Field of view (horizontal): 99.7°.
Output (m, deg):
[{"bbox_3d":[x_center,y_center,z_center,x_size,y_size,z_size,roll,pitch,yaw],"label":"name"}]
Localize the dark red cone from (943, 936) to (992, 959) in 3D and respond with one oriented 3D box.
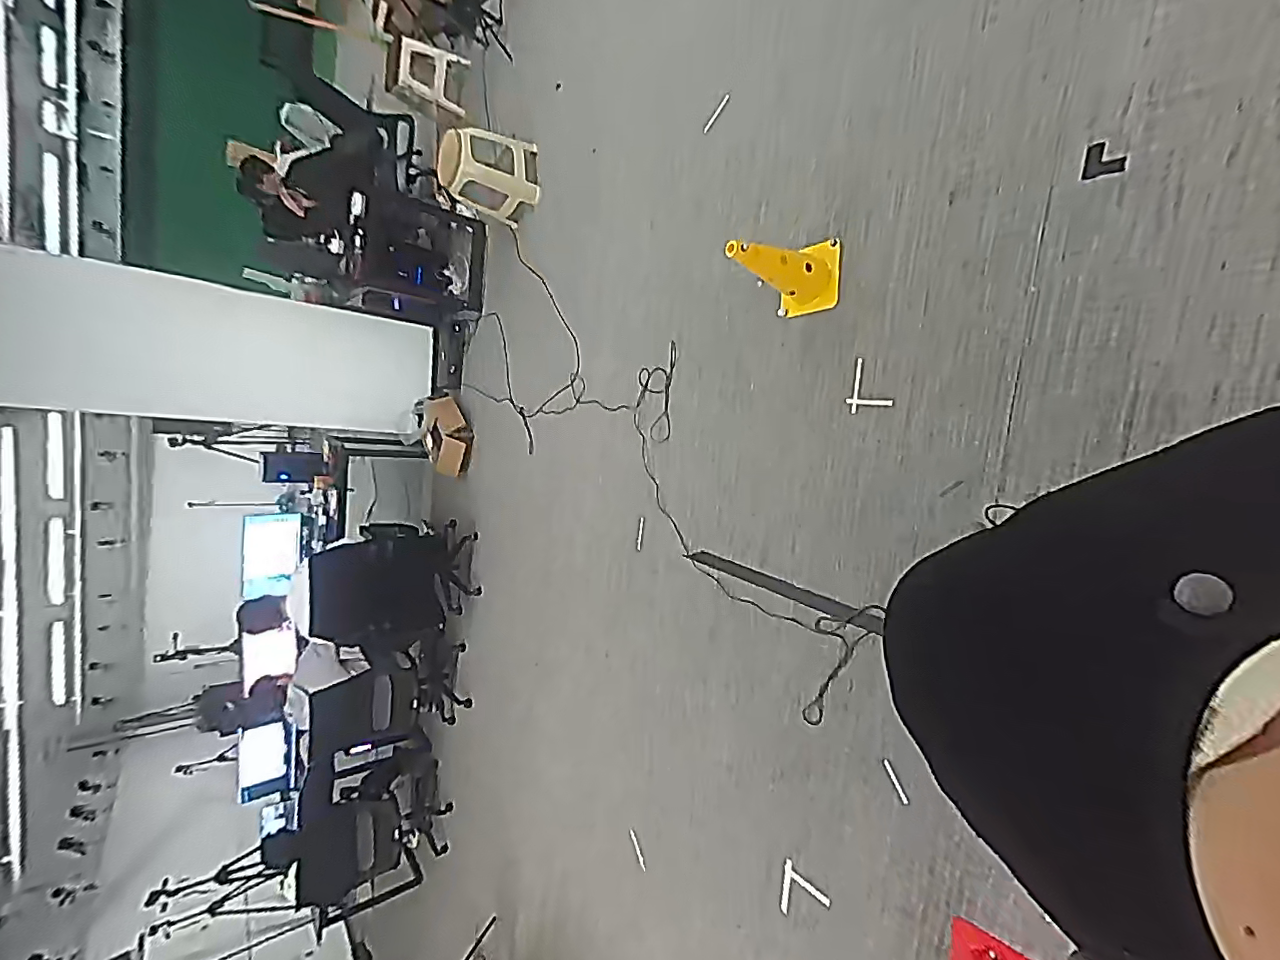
[{"bbox_3d":[0.655,1.165,1.105,0.202,0.394,0.201,3,90,51],"label":"dark red cone"}]
